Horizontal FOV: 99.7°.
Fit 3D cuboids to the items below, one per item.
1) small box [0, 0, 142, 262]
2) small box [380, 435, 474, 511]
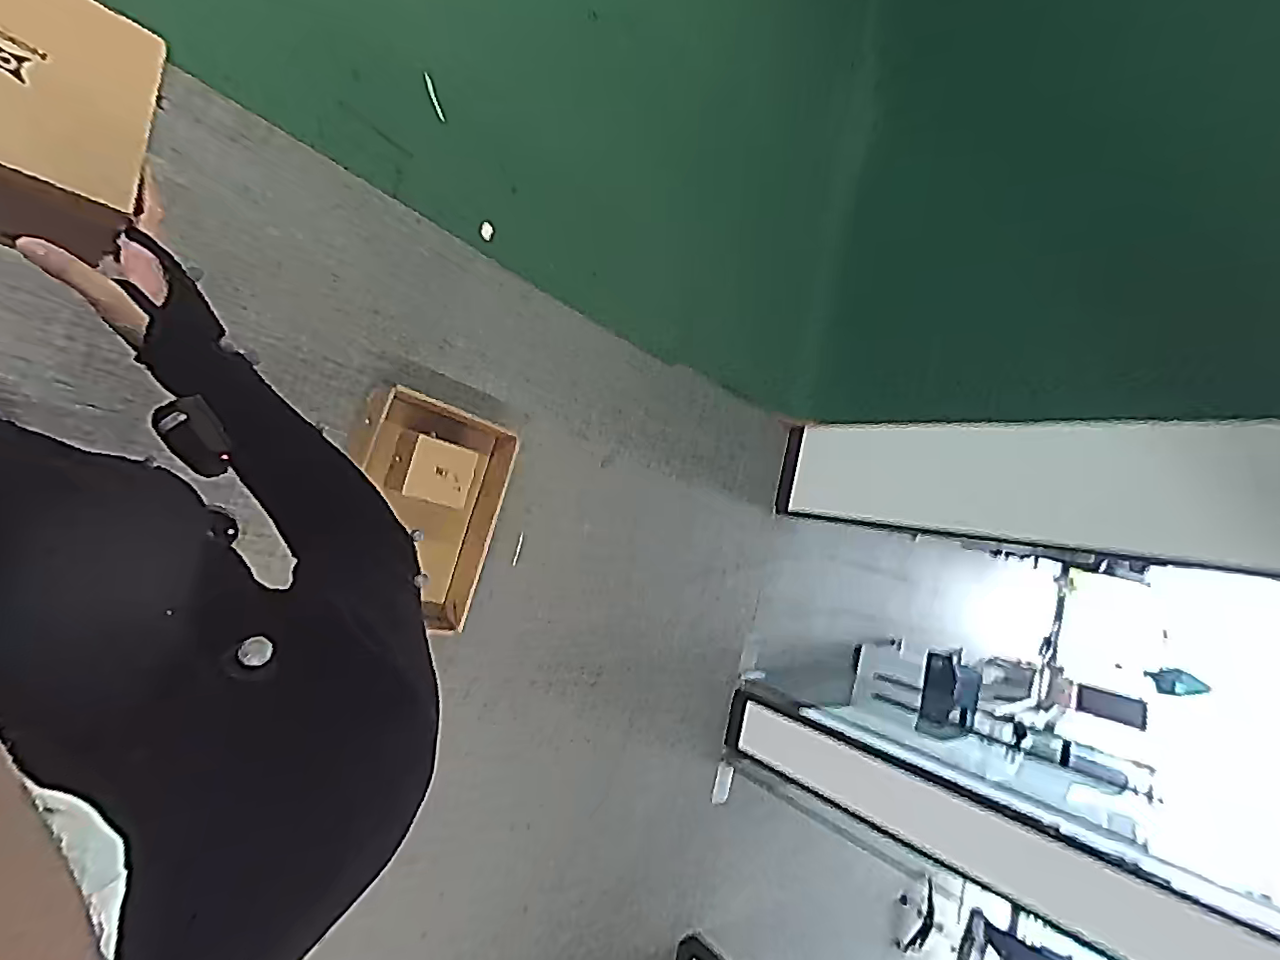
[{"bbox_3d":[-0.542,-0.309,0.436,0.168,0.176,0.179,13,74,-52],"label":"small box"},{"bbox_3d":[-0.598,-0.021,1.507,0.179,0.176,0.168,21,81,-41],"label":"small box"}]
